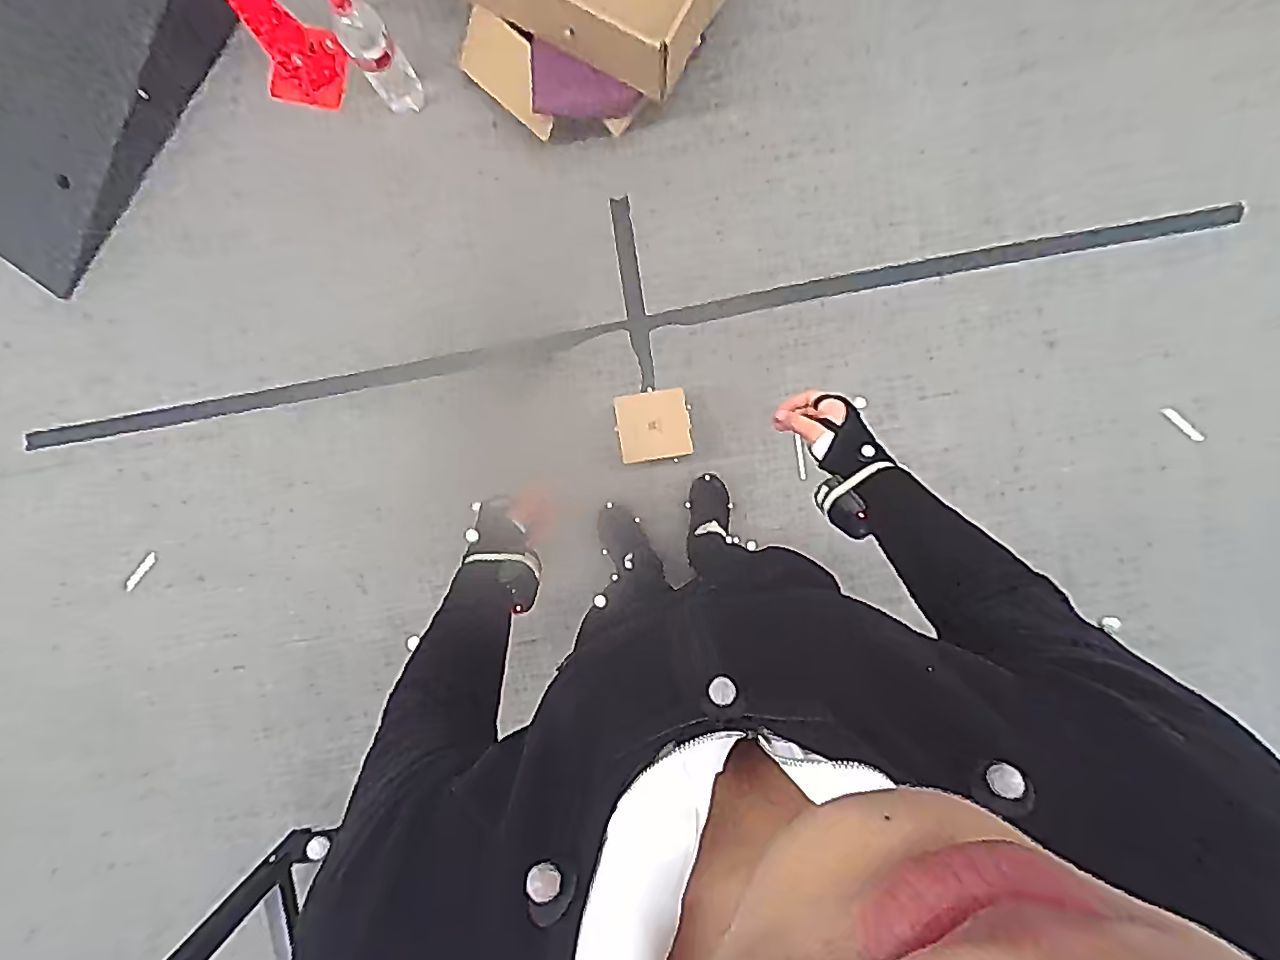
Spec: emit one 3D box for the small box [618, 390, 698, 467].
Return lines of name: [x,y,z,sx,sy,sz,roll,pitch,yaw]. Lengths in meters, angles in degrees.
small box: [0.047,-0.130,1.396,0.179,0.176,0.168,-10,91,3]
